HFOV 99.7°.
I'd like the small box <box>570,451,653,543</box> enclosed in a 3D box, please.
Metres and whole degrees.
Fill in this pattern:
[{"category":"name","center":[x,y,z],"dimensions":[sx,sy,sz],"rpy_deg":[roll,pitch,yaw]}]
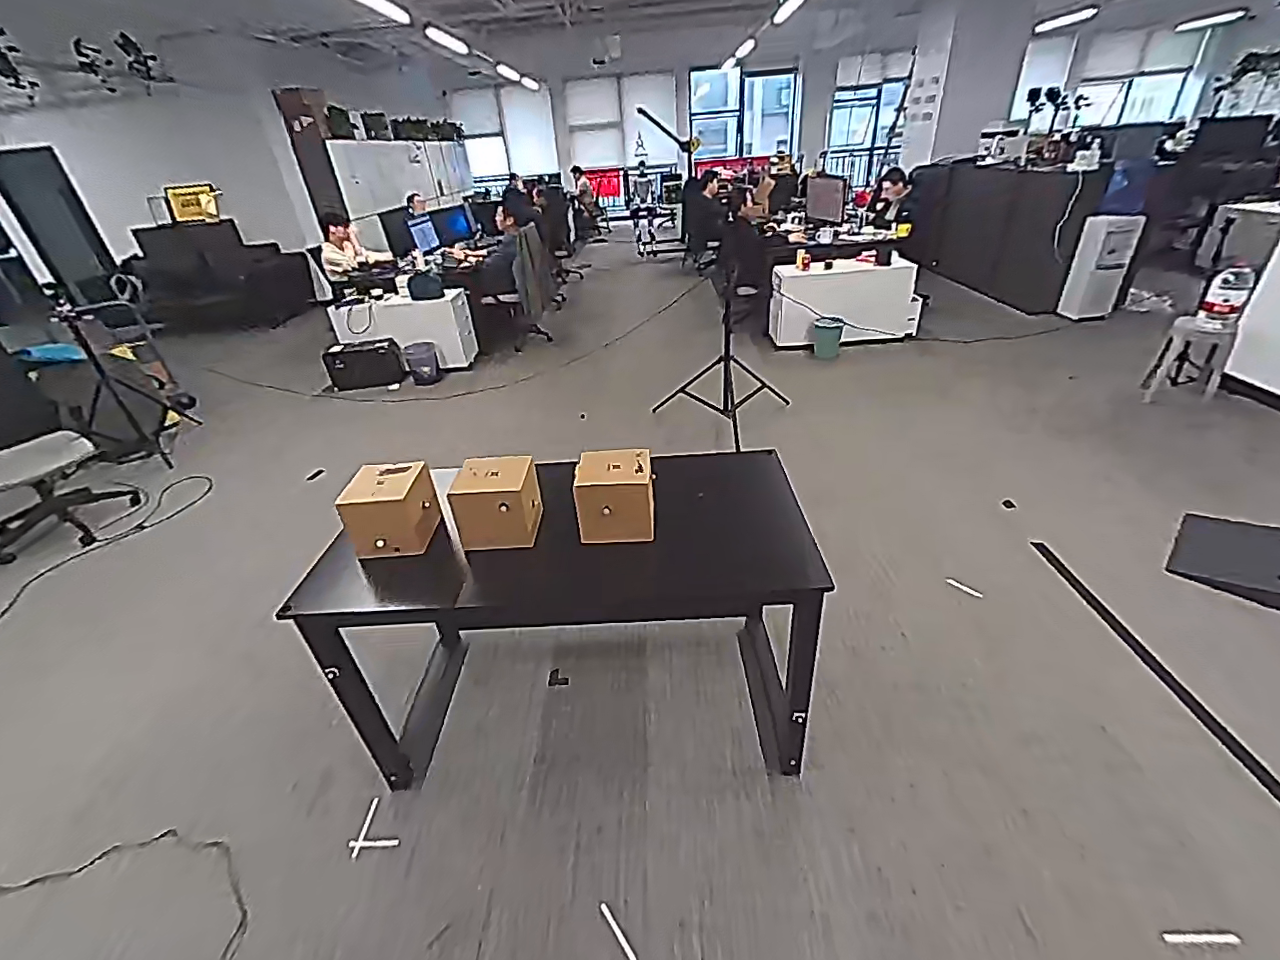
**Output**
[{"category":"small box","center":[-0.064,0.043,1.340],"dimensions":[0.179,0.176,0.168],"rpy_deg":[-3,32,4]}]

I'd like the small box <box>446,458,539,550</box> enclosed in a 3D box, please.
[{"category":"small box","center":[-0.356,0.060,1.350],"dimensions":[0.179,0.176,0.168],"rpy_deg":[-3,31,2]}]

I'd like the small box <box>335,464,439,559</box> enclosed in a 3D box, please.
[{"category":"small box","center":[-0.622,0.078,1.359],"dimensions":[0.168,0.176,0.179],"rpy_deg":[-5,33,1]}]
